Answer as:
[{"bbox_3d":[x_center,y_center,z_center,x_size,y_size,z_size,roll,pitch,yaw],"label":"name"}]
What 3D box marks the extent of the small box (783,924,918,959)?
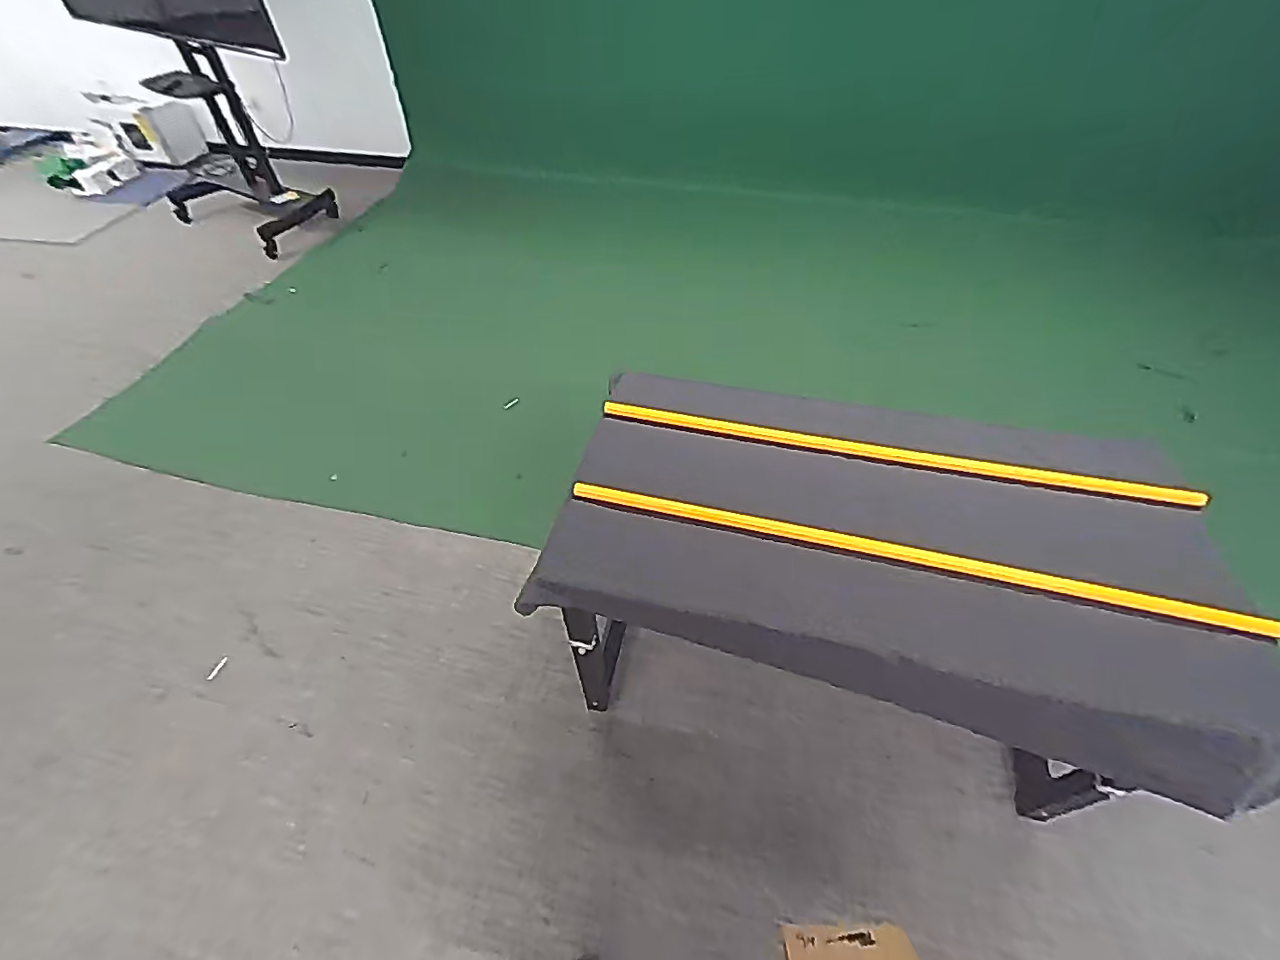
[{"bbox_3d":[0.284,0.704,0.664,0.168,0.179,0.176,-7,89,4],"label":"small box"}]
